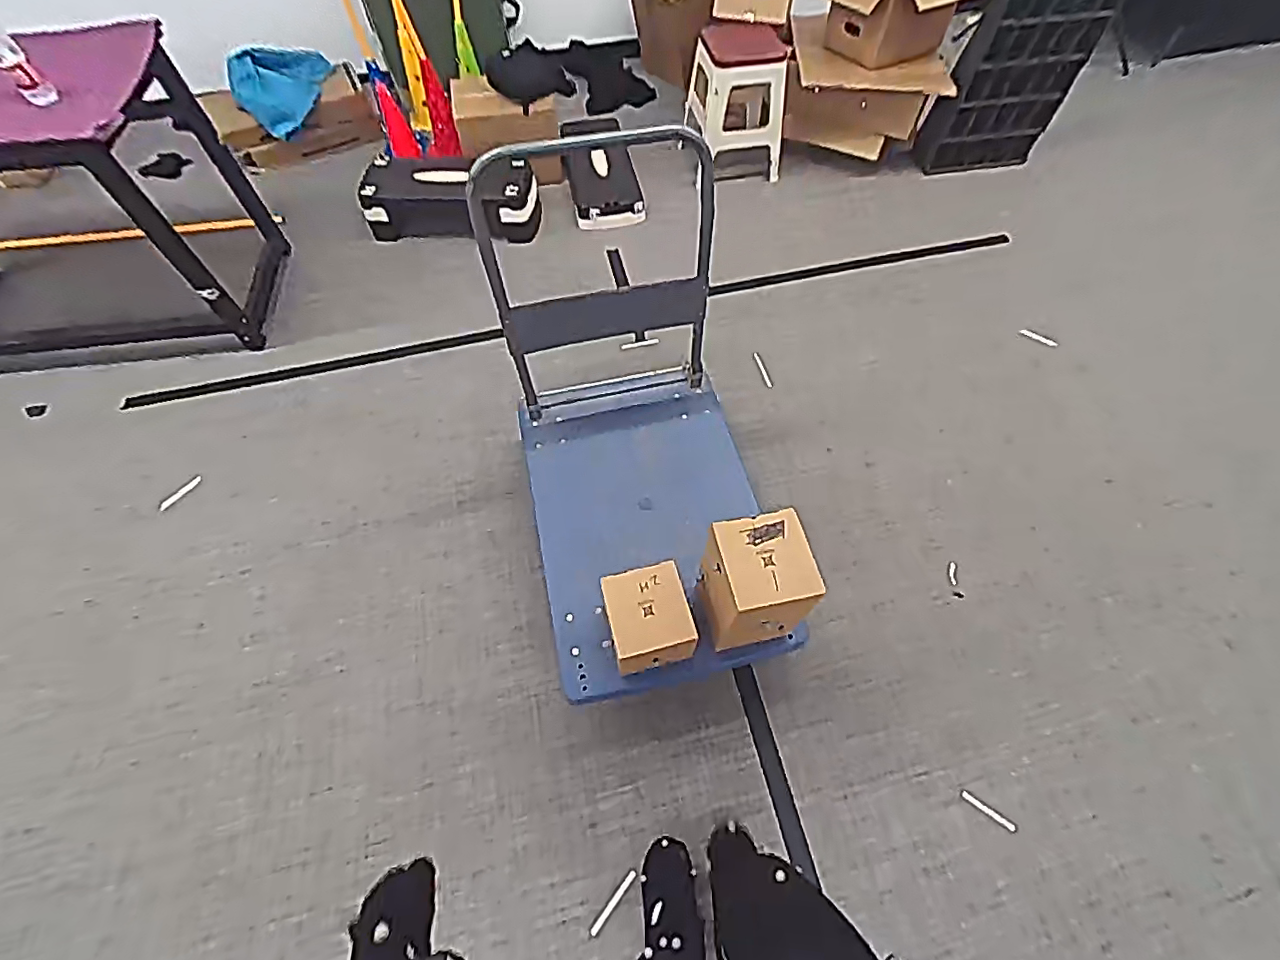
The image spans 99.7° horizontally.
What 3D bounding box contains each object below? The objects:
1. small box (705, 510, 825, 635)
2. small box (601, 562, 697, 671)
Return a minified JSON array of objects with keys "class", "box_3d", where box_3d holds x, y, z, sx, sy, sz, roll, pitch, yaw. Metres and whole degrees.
[{"class":"small box","box_3d":[0.232,0.184,1.056,0.168,0.176,0.179,-10,61,-6]},{"class":"small box","box_3d":[0.017,0.305,1.177,0.168,0.176,0.179,-13,60,-8]}]
